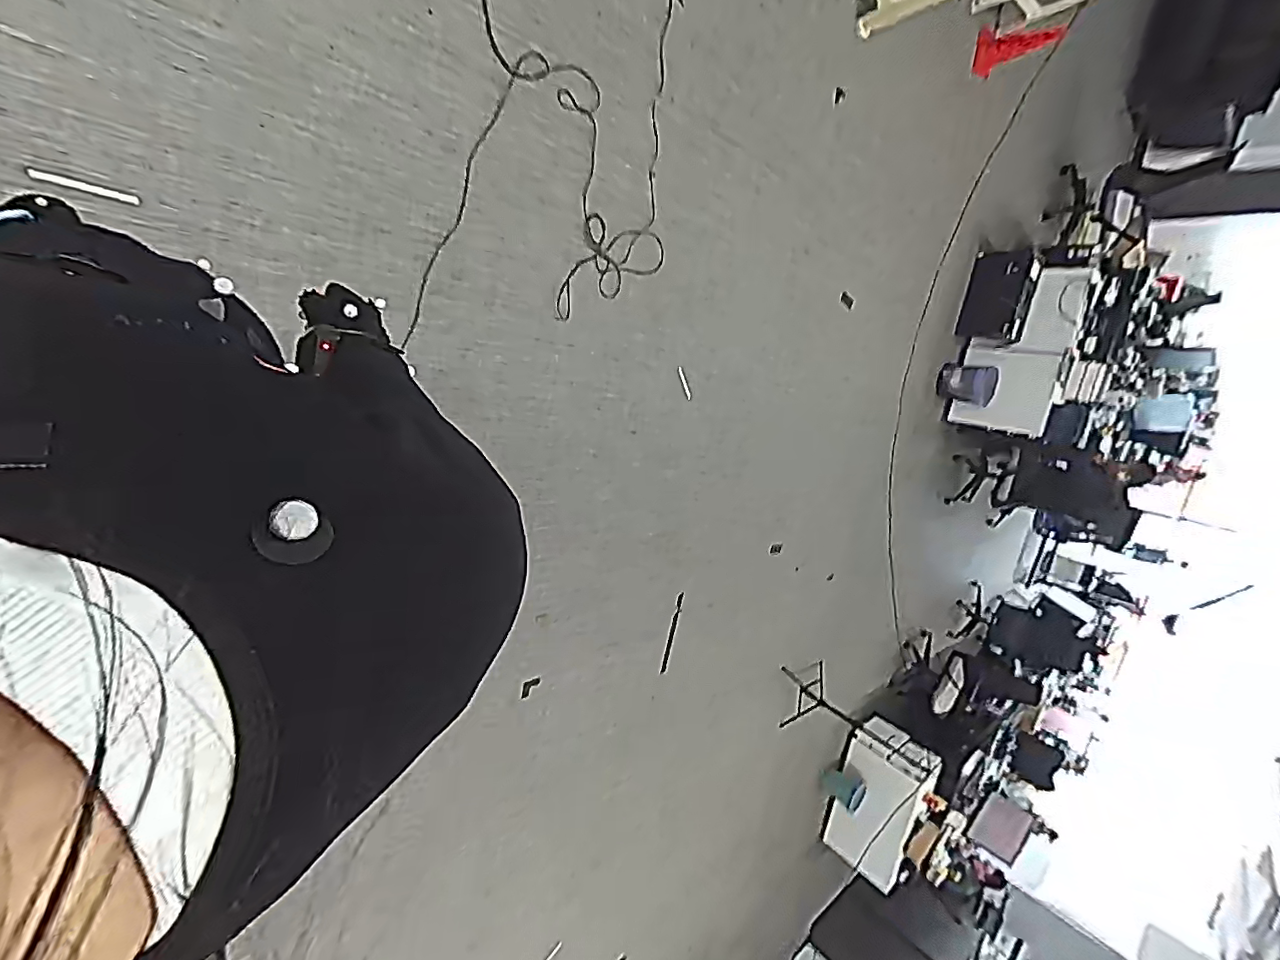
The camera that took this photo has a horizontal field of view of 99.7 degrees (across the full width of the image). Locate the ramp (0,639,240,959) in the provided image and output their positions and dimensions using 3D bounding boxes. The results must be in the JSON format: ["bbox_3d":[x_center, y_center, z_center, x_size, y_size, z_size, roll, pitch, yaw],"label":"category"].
[{"bbox_3d":[-1.197,0.871,1.171,0.509,0.206,0.991,1,104,-42],"label":"ramp"}]
